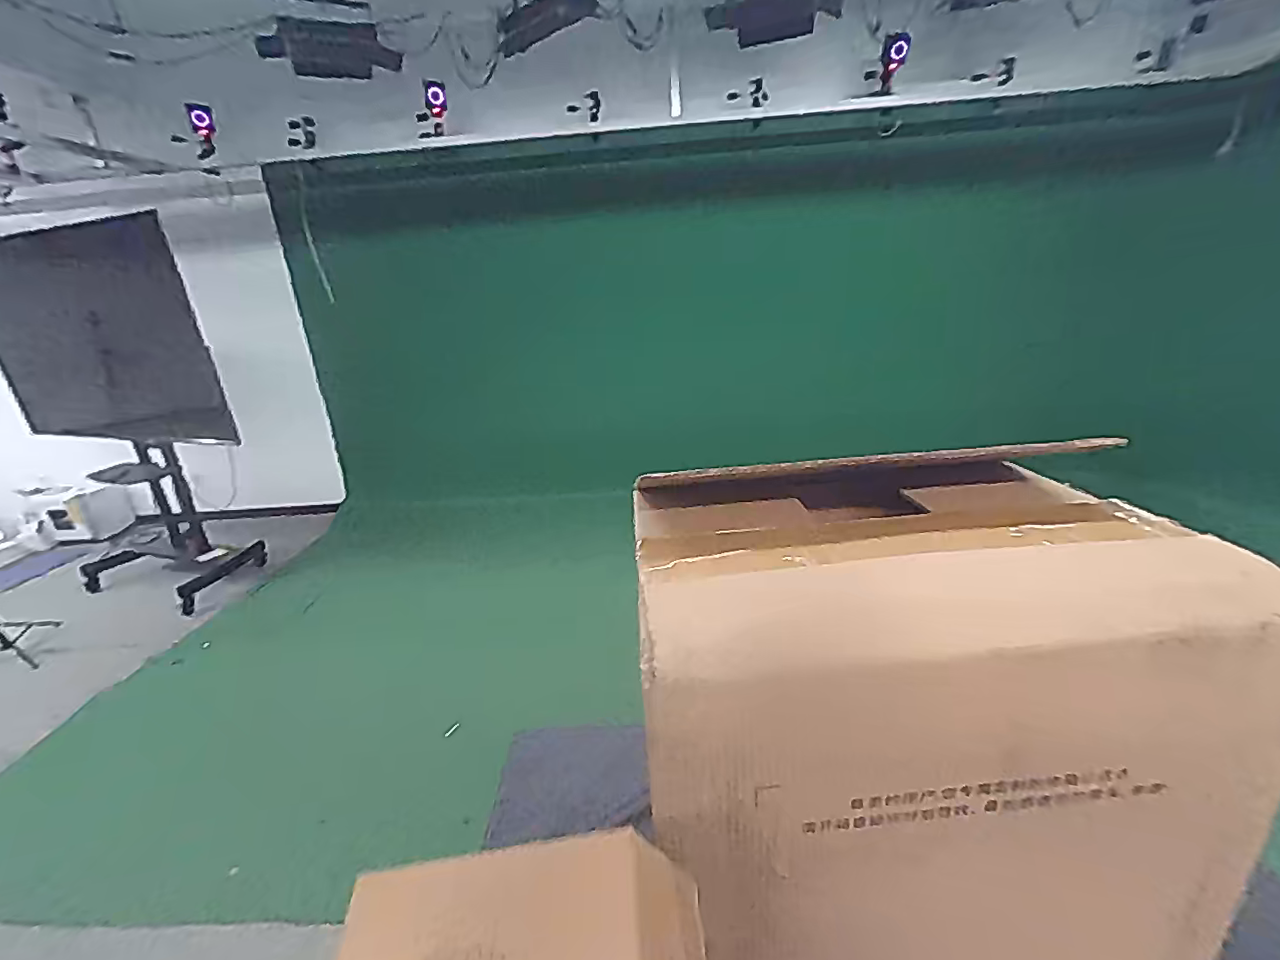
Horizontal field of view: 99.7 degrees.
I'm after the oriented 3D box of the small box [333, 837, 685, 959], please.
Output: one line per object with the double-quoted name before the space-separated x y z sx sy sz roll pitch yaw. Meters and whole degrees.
"small box" -0.064 0.333 0.306 0.168 0.176 0.179 -15 43 7
